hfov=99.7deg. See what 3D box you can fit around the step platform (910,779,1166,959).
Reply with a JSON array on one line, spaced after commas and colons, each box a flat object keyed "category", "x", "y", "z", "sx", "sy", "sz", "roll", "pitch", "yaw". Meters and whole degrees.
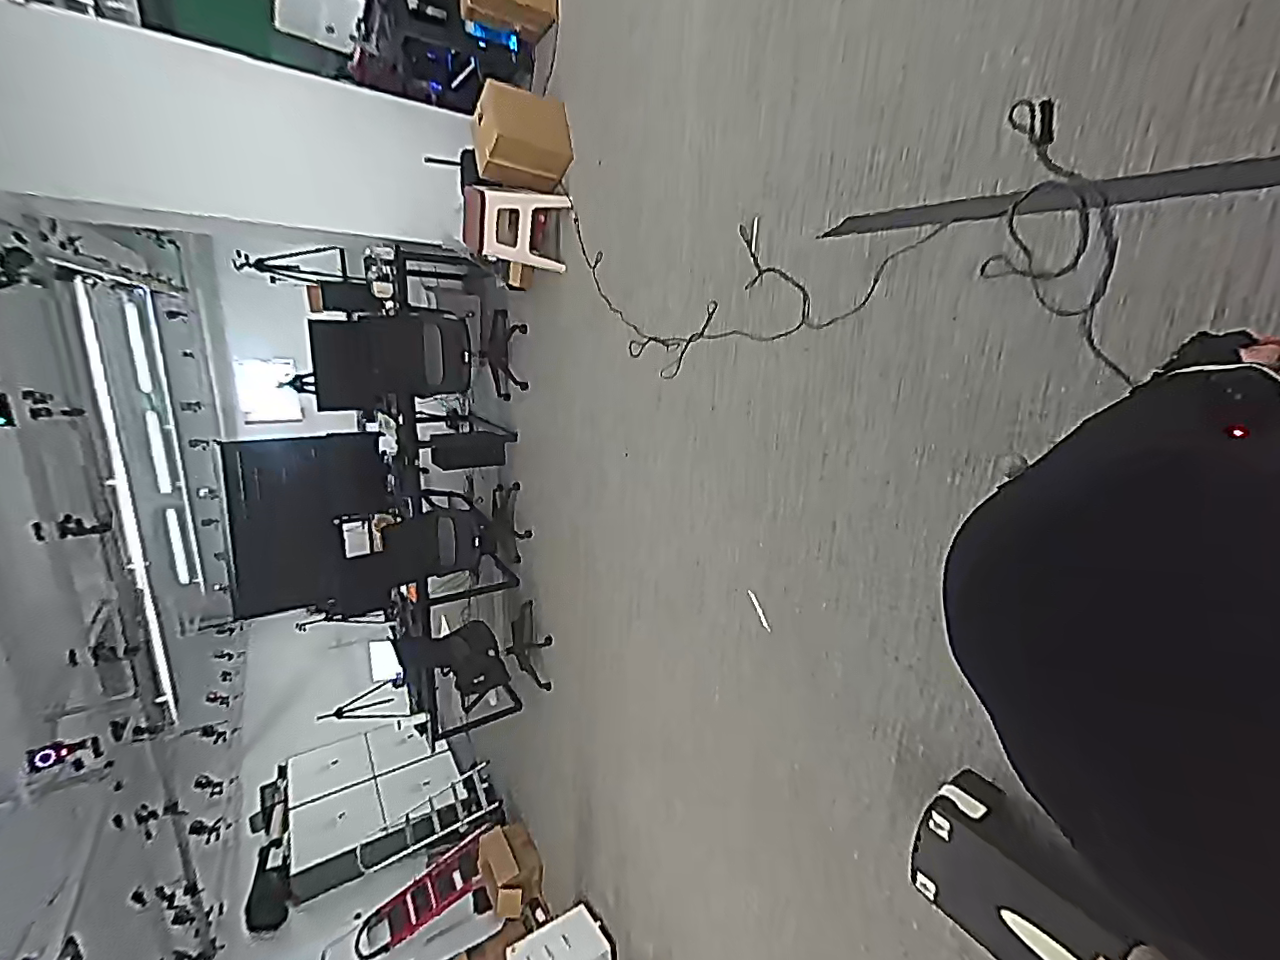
[{"category": "step platform", "x": 0.956, "y": 1.013, "z": 1.176, "sx": 0.684, "sy": 0.204, "sz": 0.286, "roll": 24, "pitch": 117, "yaw": 52}]
